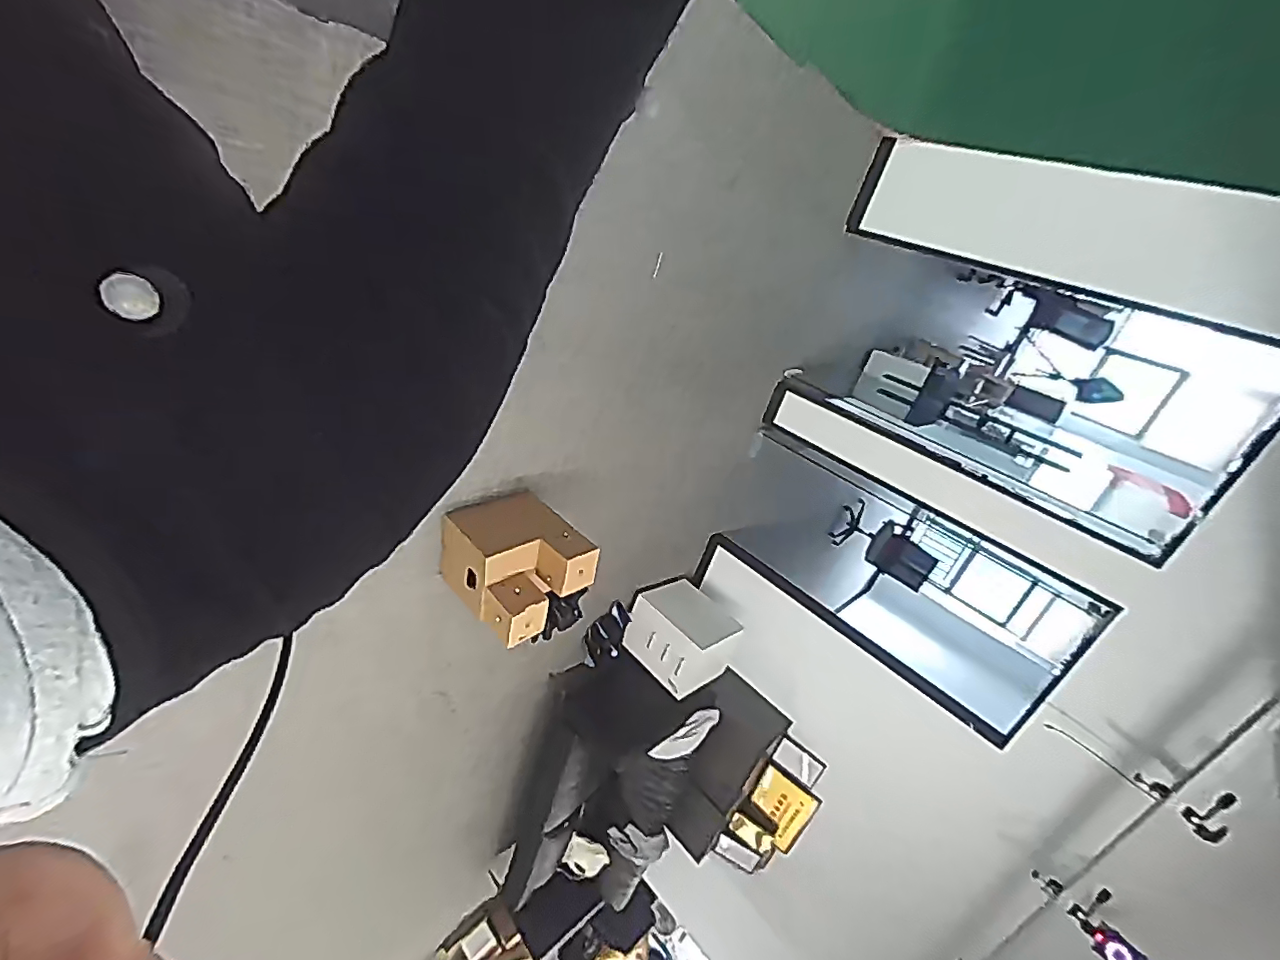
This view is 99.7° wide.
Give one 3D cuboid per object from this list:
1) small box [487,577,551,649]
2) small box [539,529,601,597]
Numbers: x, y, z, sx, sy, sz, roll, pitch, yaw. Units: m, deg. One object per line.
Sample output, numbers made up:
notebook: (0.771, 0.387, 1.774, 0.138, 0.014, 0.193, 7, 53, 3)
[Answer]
small box: (-0.457, 0.488, 2.027, 0.168, 0.176, 0.179, -20, 134, -42)
small box: (-0.278, 0.320, 2.110, 0.168, 0.176, 0.179, -18, 128, -45)
